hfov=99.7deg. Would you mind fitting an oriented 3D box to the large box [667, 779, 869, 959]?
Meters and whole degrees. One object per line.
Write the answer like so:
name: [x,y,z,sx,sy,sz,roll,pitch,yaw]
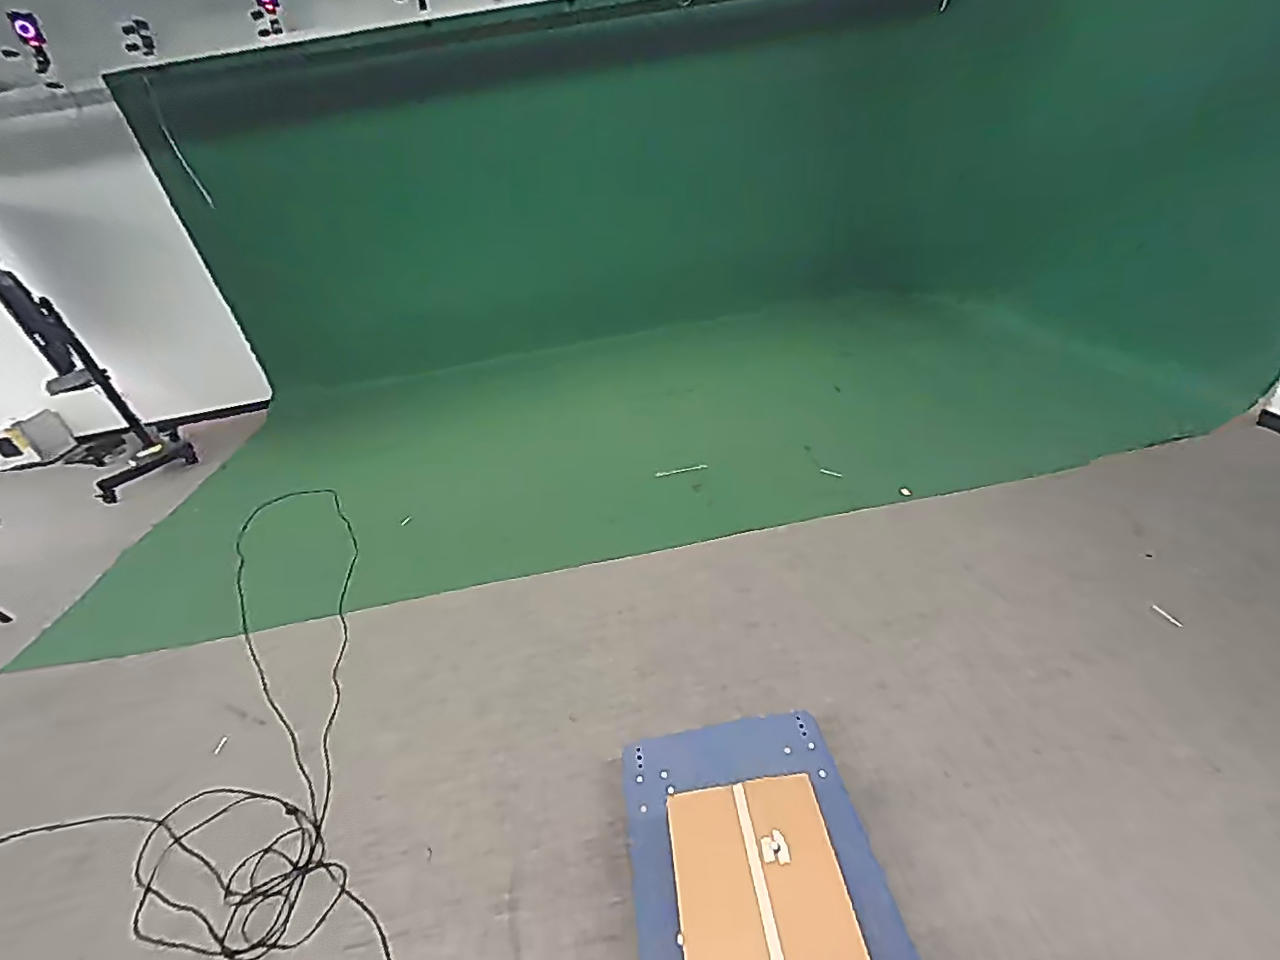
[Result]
large box: [0.247,0.902,1.084,0.320,0.320,0.408,-9,32,1]
